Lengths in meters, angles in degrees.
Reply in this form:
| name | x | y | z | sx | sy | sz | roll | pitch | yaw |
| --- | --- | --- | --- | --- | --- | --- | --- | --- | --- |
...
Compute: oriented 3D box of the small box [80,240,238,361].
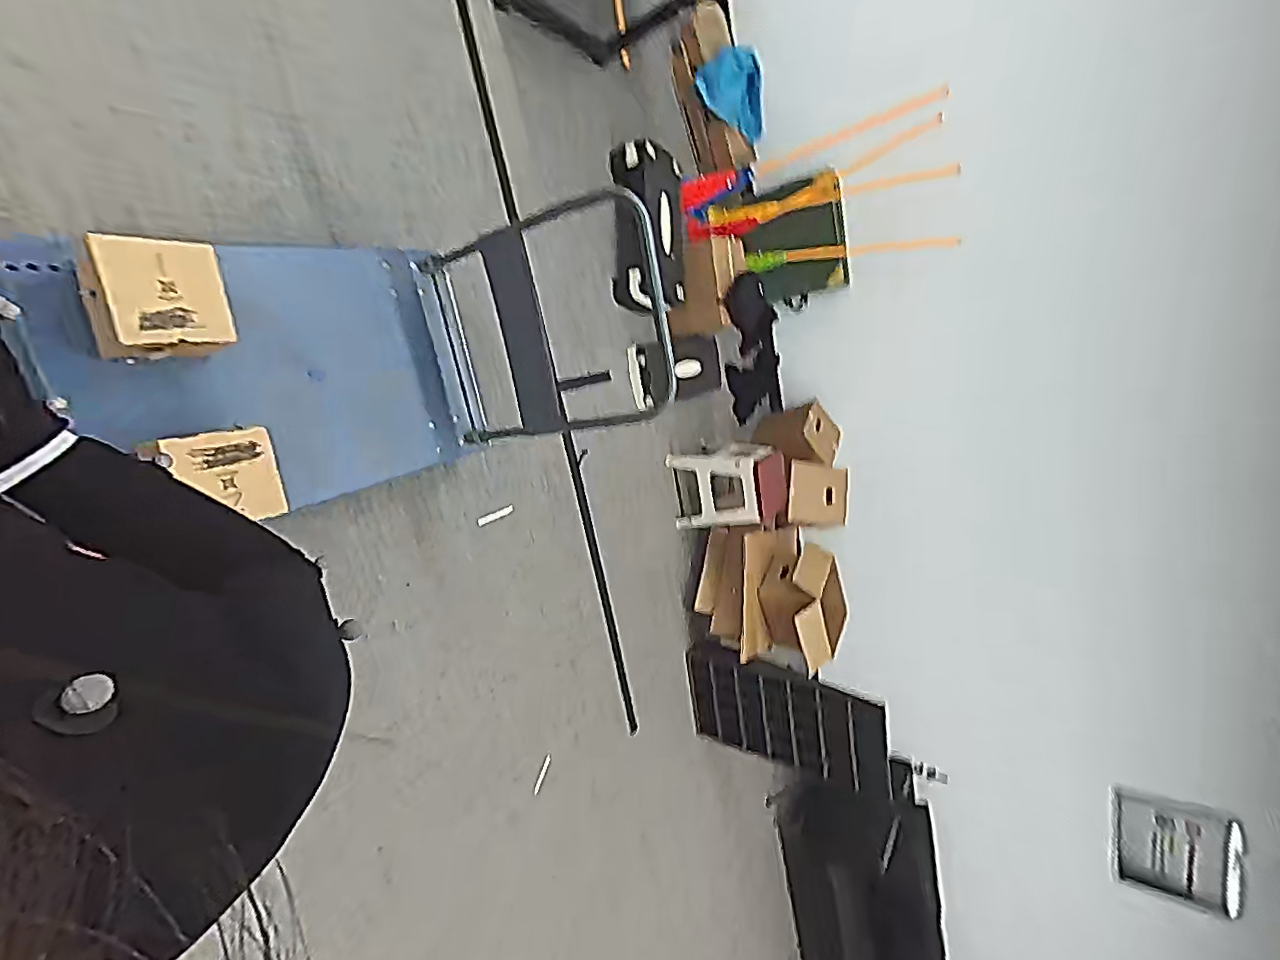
| name | x | y | z | sx | sy | sz | roll | pitch | yaw |
| --- | --- | --- | --- | --- | --- | --- | --- | --- | --- |
| small box | -0.872 | -0.313 | 0.982 | 0.168 | 0.176 | 0.179 | -20 | 105 | -51 |
